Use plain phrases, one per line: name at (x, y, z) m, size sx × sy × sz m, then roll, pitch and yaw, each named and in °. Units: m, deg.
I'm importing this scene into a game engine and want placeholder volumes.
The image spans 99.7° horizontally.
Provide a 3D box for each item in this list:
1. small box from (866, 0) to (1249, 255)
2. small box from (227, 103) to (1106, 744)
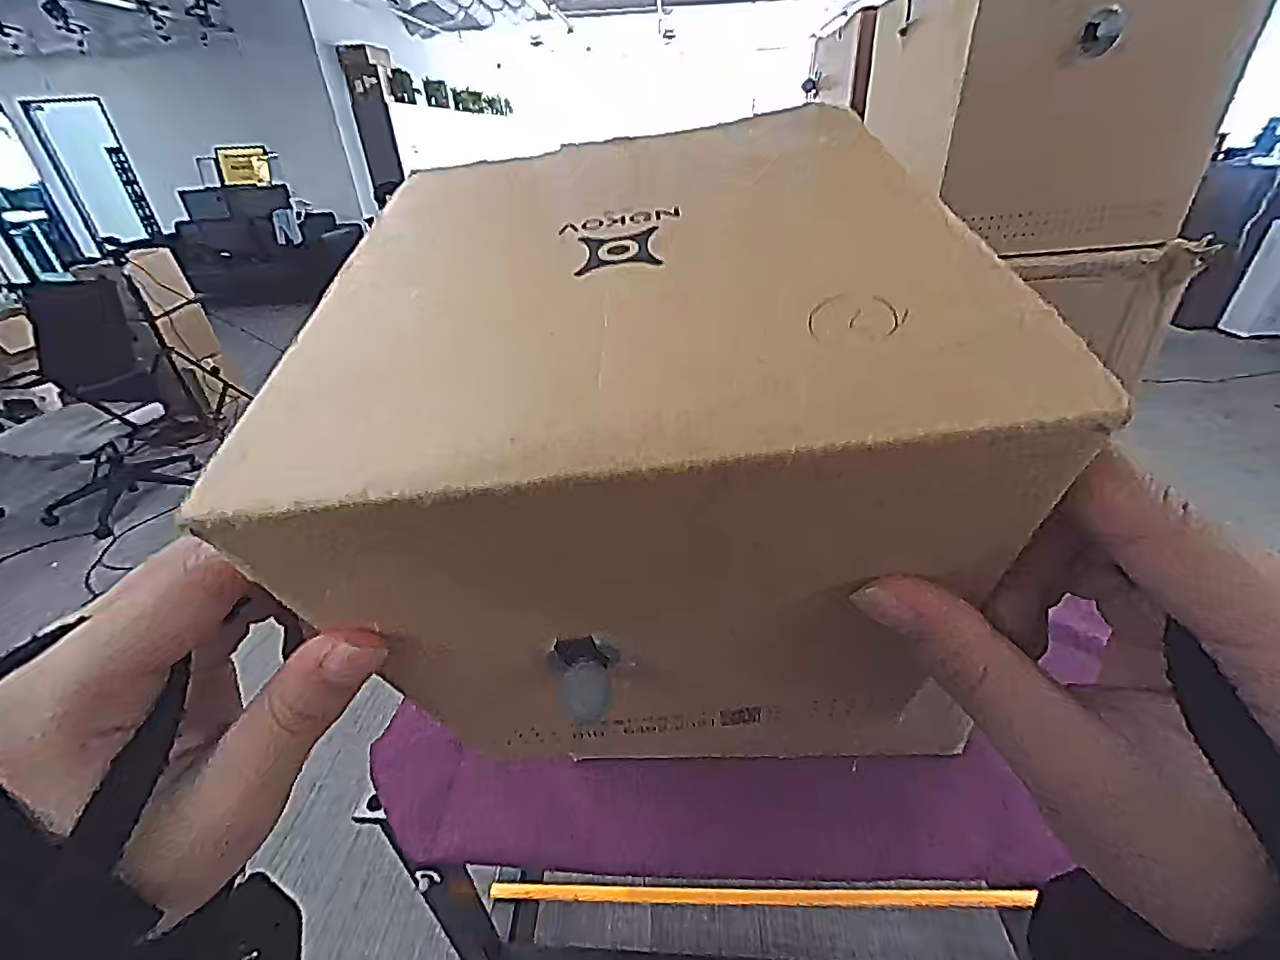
small box at (0.283, -0.272, 0.411) m, size 0.179 × 0.176 × 0.168 m, roll -4°, pitch 33°, yaw 1°
small box at (0.009, -0.011, 0.211) m, size 0.168 × 0.176 × 0.179 m, roll -7°, pitch 48°, yaw 4°
